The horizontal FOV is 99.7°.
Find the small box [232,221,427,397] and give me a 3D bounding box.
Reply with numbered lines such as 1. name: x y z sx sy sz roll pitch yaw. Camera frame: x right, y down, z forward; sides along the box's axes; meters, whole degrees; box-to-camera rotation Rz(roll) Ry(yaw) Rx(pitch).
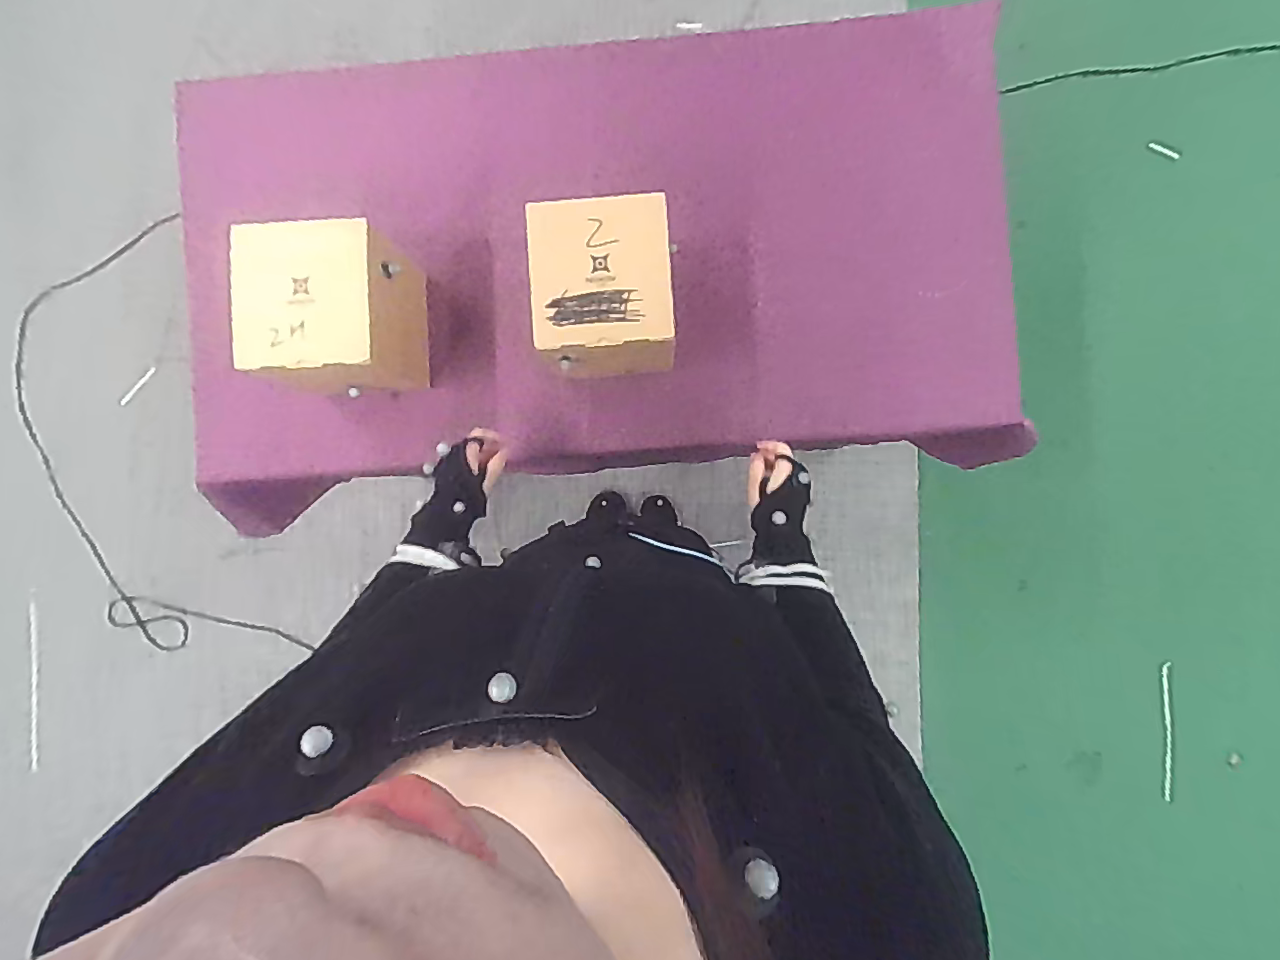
1. small box: -0.396 -0.214 0.714 0.168 0.176 0.179 -3 89 2
